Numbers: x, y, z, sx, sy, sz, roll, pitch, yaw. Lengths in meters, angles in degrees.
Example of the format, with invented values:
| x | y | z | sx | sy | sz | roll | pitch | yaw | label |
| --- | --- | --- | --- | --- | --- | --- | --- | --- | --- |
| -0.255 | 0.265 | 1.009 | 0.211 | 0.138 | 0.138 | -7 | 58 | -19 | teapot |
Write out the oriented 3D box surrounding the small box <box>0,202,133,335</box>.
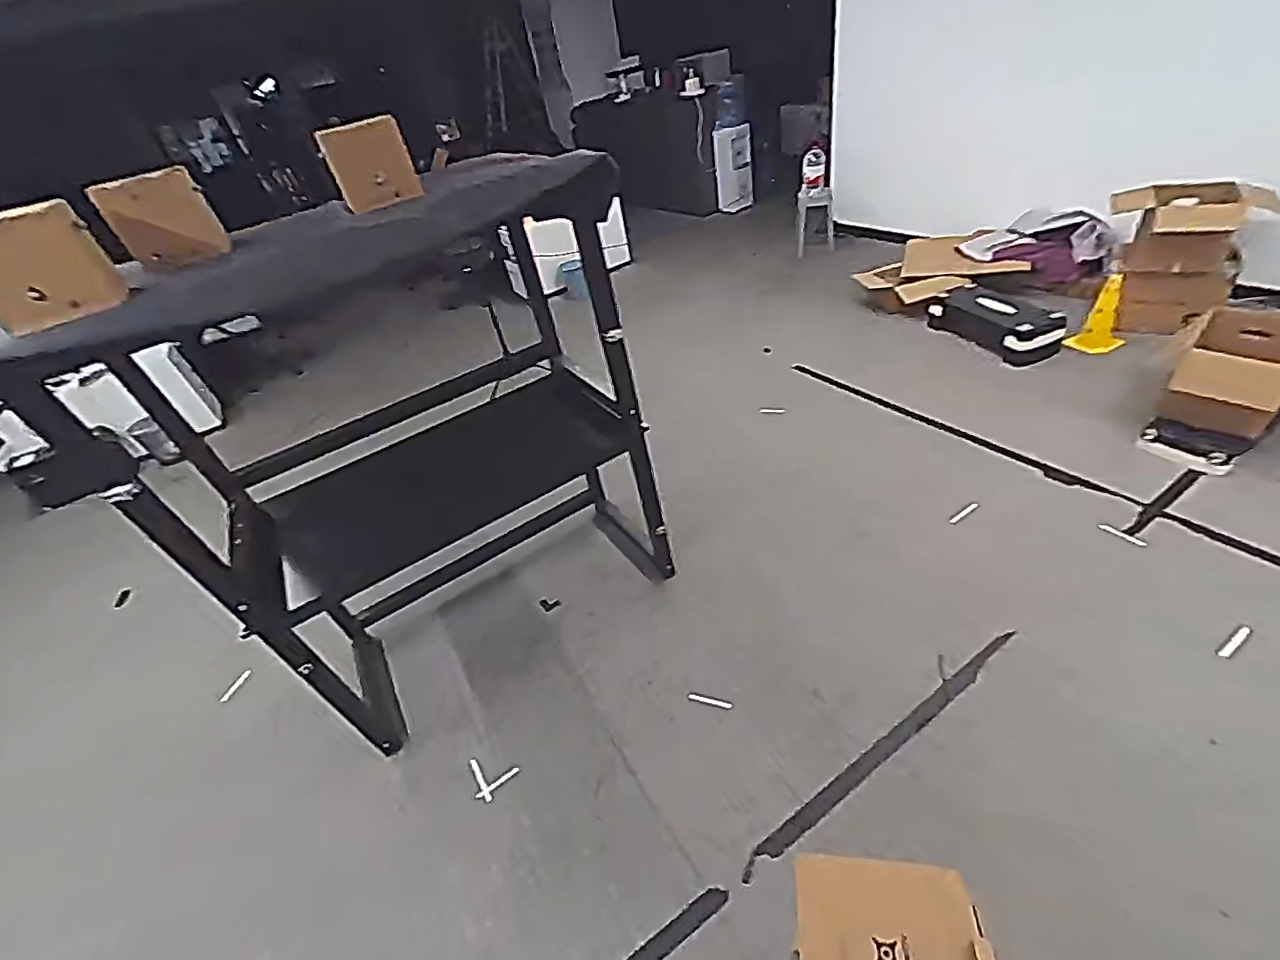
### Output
| x | y | z | sx | sy | sz | roll | pitch | yaw | label |
| --- | --- | --- | --- | --- | --- | --- | --- | --- | --- |
| -1.050 | -0.374 | 0.956 | 0.168 | 0.176 | 0.179 | -31 | 42 | -22 | small box |

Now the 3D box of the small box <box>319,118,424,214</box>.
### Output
| x | y | z | sx | sy | sz | roll | pitch | yaw | label |
| --- | --- | --- | --- | --- | --- | --- | --- | --- | --- |
| -0.652 | -0.763 | 1.316 | 0.168 | 0.176 | 0.179 | -28 | 41 | -16 | small box |

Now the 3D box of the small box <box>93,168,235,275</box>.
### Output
| x | y | z | sx | sy | sz | roll | pitch | yaw | label |
| --- | --- | --- | --- | --- | --- | --- | --- | --- | --- |
| -1.028 | -0.567 | 1.187 | 0.168 | 0.176 | 0.179 | -29 | 40 | -19 | small box |

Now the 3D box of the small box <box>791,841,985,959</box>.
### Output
| x | y | z | sx | sy | sz | roll | pitch | yaw | label |
| --- | --- | --- | --- | --- | --- | --- | --- | --- | --- |
| 0.255 | 0.517 | 0.569 | 0.179 | 0.176 | 0.168 | -5 | 32 | 16 | small box |
